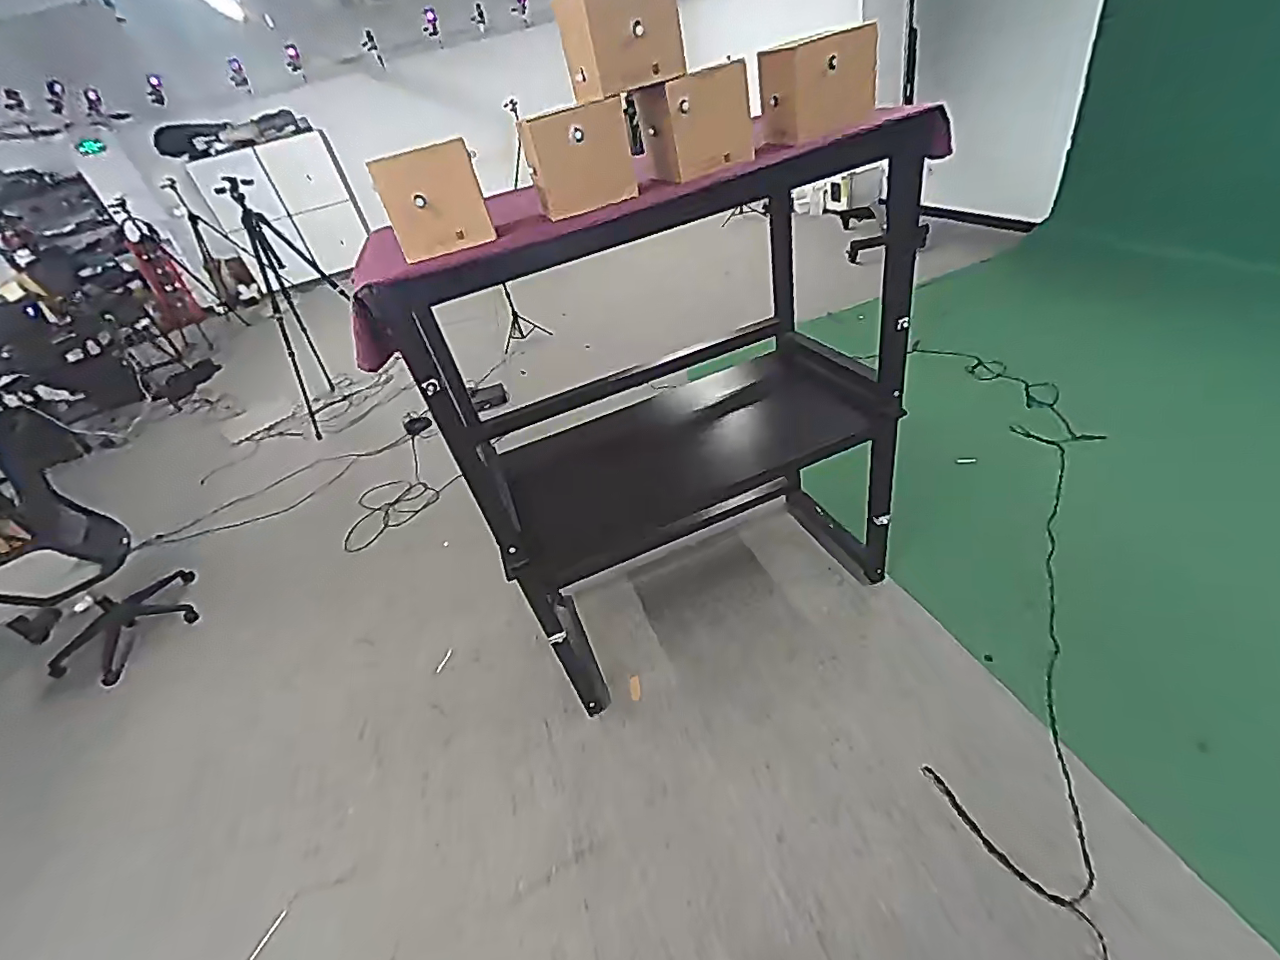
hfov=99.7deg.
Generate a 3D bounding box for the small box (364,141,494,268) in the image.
[{"bbox_3d":[-0.381,-0.509,1.003,0.168,0.176,0.179,-20,35,-6],"label":"small box"}]

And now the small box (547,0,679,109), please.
[{"bbox_3d":[-0.045,-0.785,0.967,0.168,0.176,0.179,-24,37,-11],"label":"small box"}]

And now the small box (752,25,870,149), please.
[{"bbox_3d":[0.354,-0.805,1.120,0.179,0.176,0.168,-20,38,-5],"label":"small box"}]
